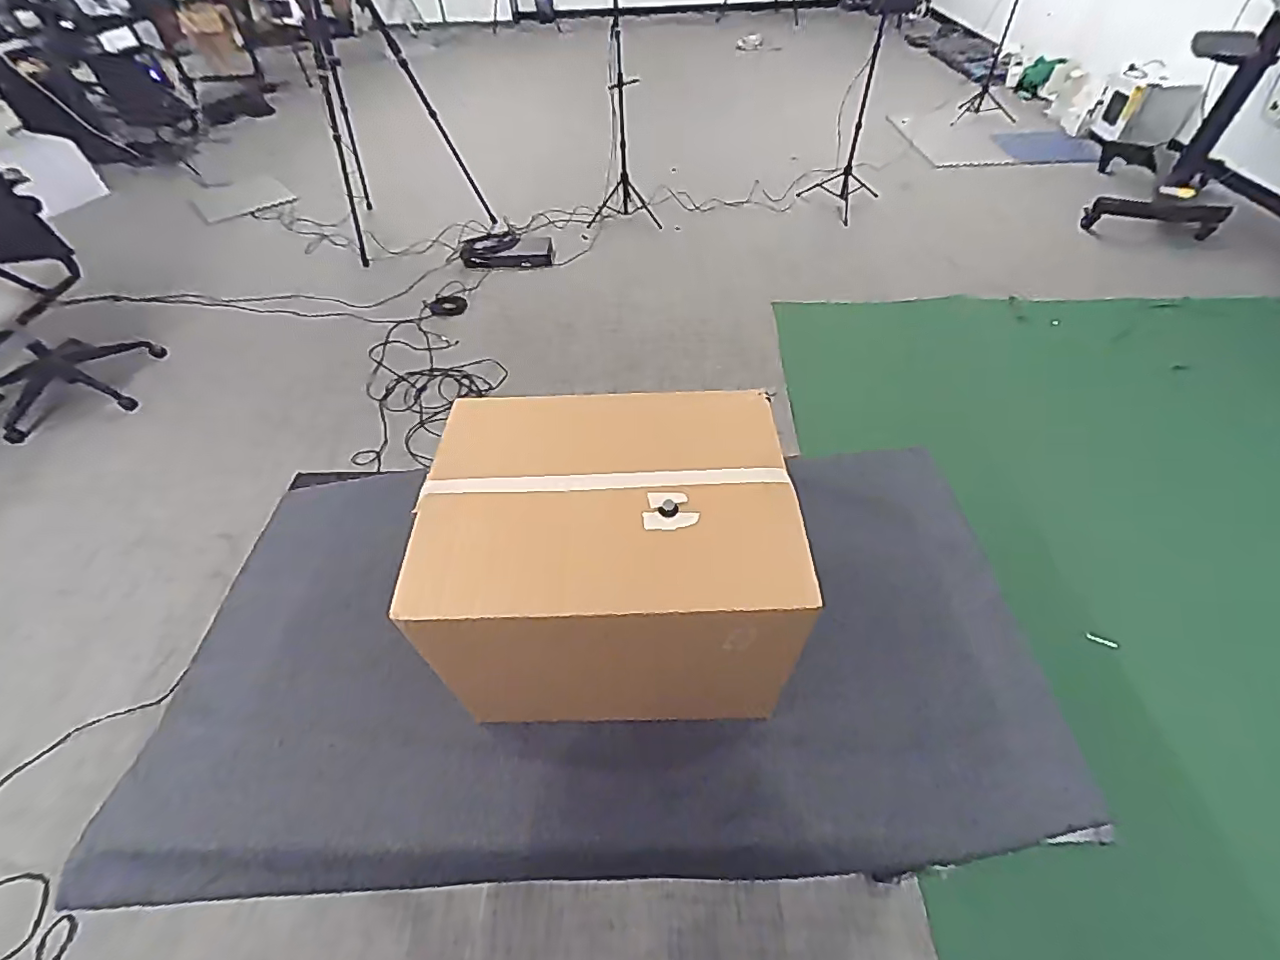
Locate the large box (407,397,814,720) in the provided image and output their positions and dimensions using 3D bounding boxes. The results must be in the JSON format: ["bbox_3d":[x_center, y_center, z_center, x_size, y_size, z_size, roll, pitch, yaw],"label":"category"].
[{"bbox_3d":[-0.031,0.110,0.727,0.408,0.320,0.320,-2,50,0],"label":"large box"}]
